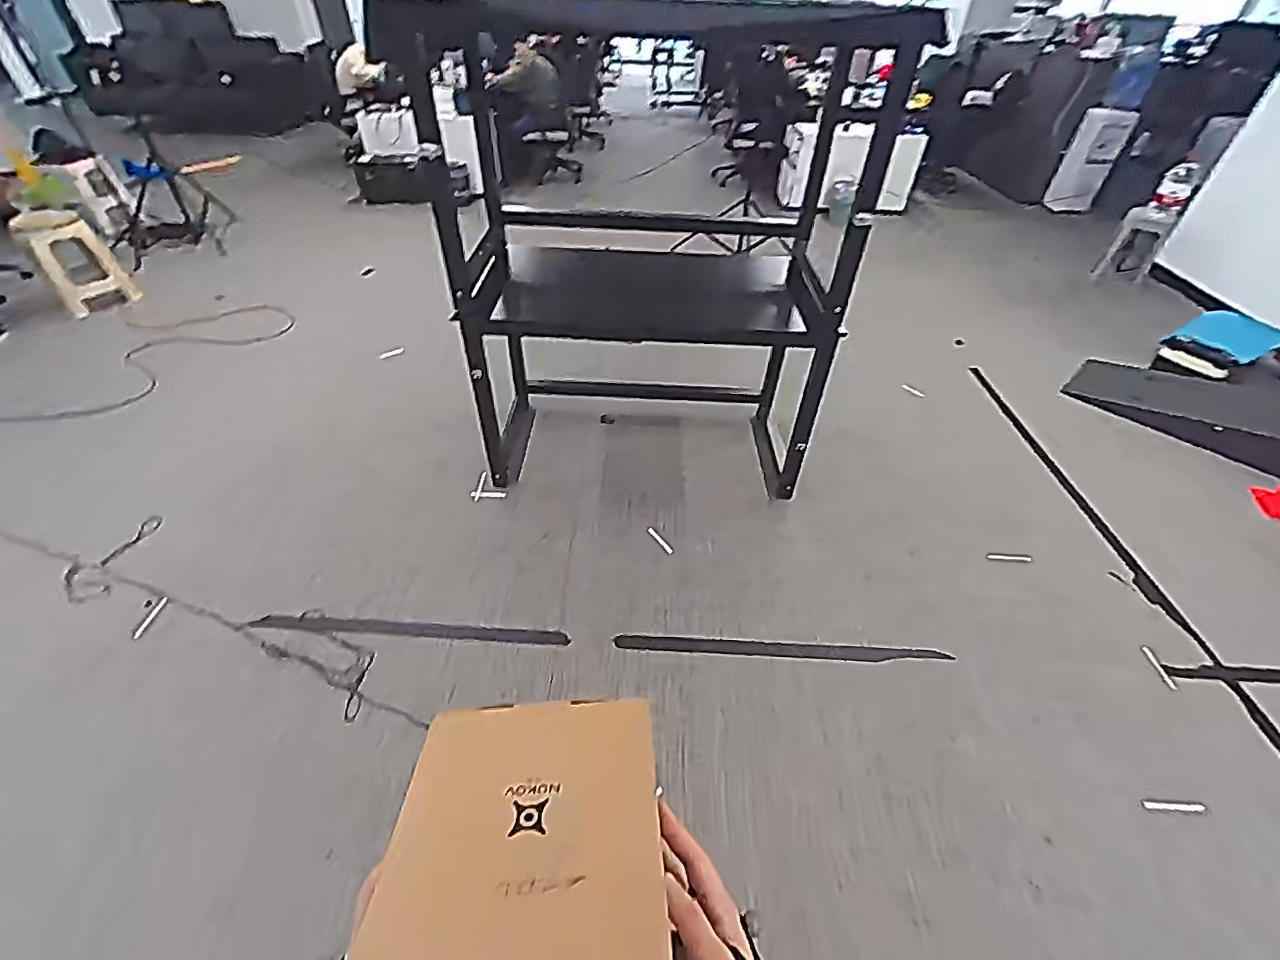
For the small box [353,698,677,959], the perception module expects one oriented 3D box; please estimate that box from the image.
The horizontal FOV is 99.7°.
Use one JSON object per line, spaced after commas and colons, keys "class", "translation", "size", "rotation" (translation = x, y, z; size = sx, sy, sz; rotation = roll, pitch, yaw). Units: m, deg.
{"class": "small box", "translation": [-0.067, 0.283, 0.375], "size": [0.168, 0.176, 0.179], "rotation": [-3, 26, -3]}
